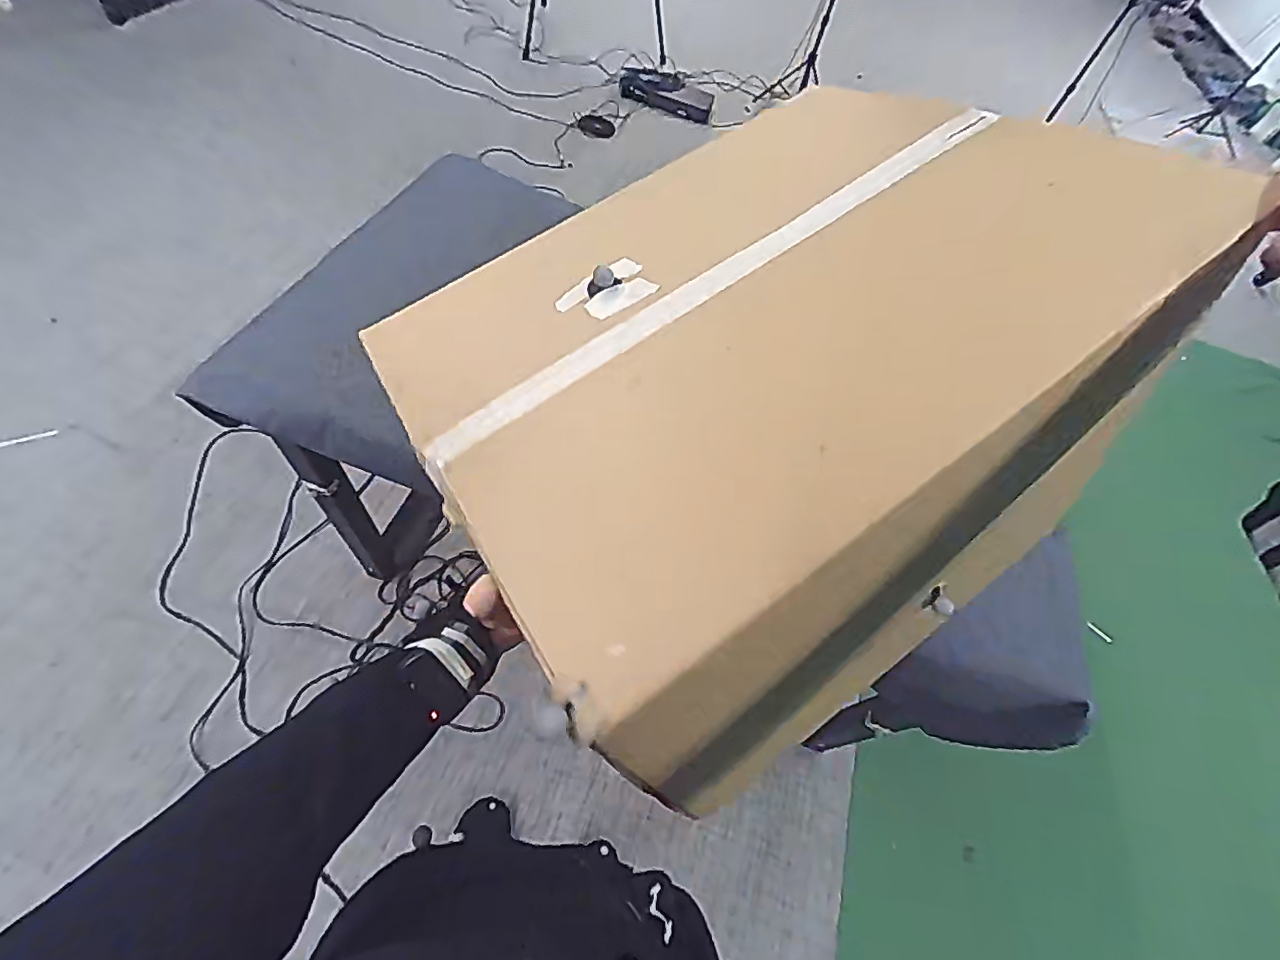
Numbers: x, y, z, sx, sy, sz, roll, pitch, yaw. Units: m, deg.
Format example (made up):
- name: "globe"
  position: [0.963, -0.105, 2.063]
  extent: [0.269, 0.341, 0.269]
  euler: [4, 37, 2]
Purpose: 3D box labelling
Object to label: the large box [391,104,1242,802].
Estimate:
- name: "large box"
  position: [0.103, -0.022, 0.441]
  extent: [0.408, 0.320, 0.320]
  euler: [-36, 53, -10]
